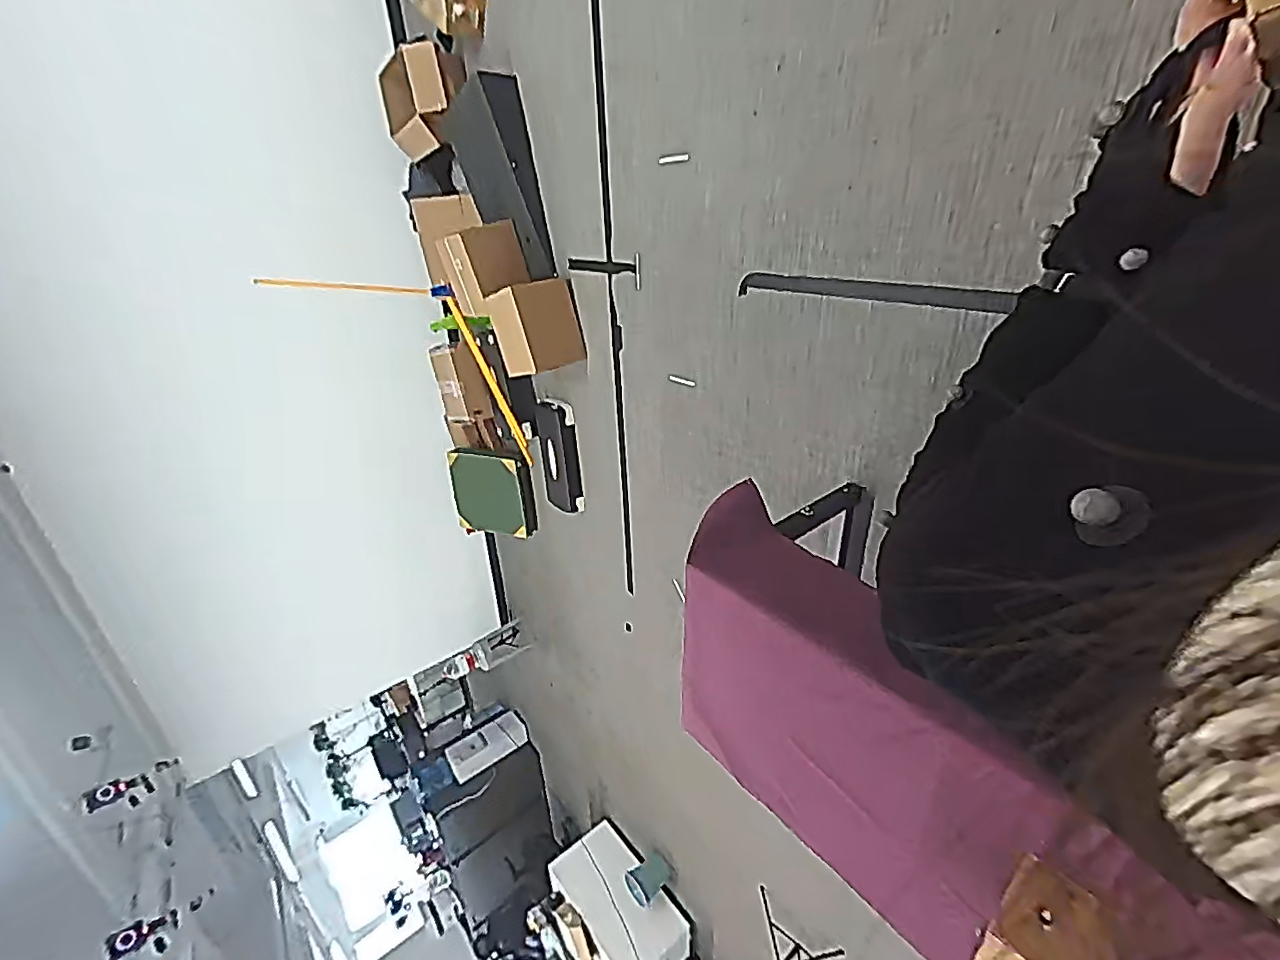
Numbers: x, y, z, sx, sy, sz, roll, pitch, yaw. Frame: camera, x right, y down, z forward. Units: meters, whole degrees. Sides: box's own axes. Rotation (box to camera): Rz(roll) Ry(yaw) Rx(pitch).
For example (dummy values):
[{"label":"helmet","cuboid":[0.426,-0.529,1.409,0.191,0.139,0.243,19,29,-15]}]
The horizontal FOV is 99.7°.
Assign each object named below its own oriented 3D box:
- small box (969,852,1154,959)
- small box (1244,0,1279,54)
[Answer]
[{"label":"small box","cuboid":[0.616,0.711,0.802,0.168,0.176,0.179,28,129,45]},{"label":"small box","cuboid":[0.328,-0.288,0.181,0.168,0.176,0.179,2,110,50]}]
